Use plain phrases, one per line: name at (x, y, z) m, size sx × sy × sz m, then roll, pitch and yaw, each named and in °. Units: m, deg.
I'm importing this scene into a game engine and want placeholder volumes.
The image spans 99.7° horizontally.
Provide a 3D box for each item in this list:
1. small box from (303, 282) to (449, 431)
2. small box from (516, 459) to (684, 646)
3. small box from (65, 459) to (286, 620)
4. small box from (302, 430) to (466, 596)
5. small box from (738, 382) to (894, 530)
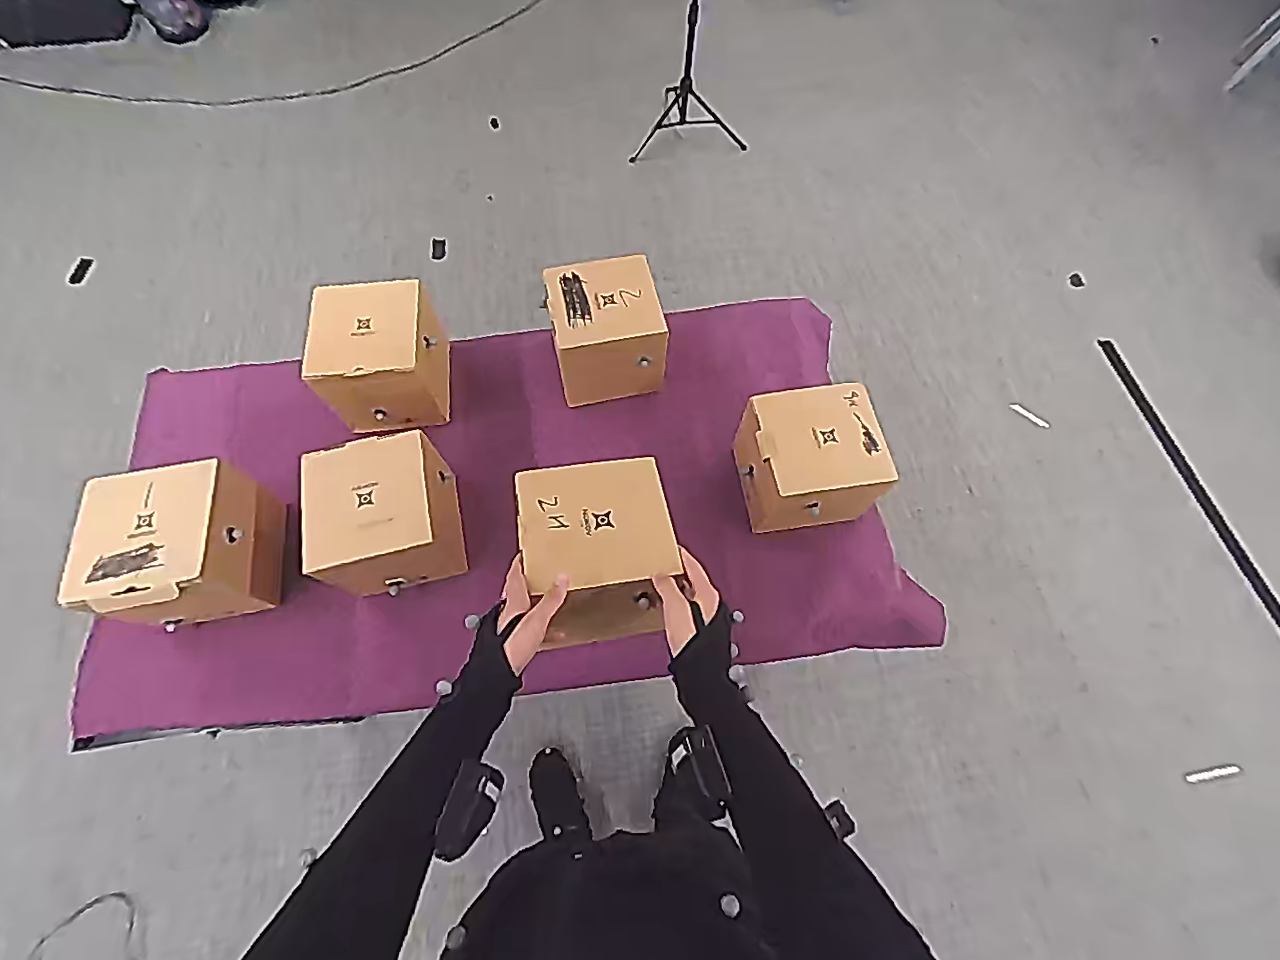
small box at (-0.426, -0.202, 0.903) m, size 0.168 × 0.176 × 0.179 m, roll -6°, pitch 67°, yaw -5°
small box at (-0.056, 0.095, 0.685) m, size 0.179 × 0.176 × 0.168 m, roll -7°, pitch 56°, yaw -9°
small box at (-0.639, 0.095, 0.772) m, size 0.168 × 0.176 × 0.179 m, roll -10°, pitch 66°, yaw -6°
small box at (-0.368, 0.054, 0.797) m, size 0.168 × 0.176 × 0.179 m, roll -13°, pitch 67°, yaw -6°
small box at (0.257, -0.030, 0.845) m, size 0.179 × 0.176 × 0.168 m, roll -8°, pitch 67°, yaw -3°
